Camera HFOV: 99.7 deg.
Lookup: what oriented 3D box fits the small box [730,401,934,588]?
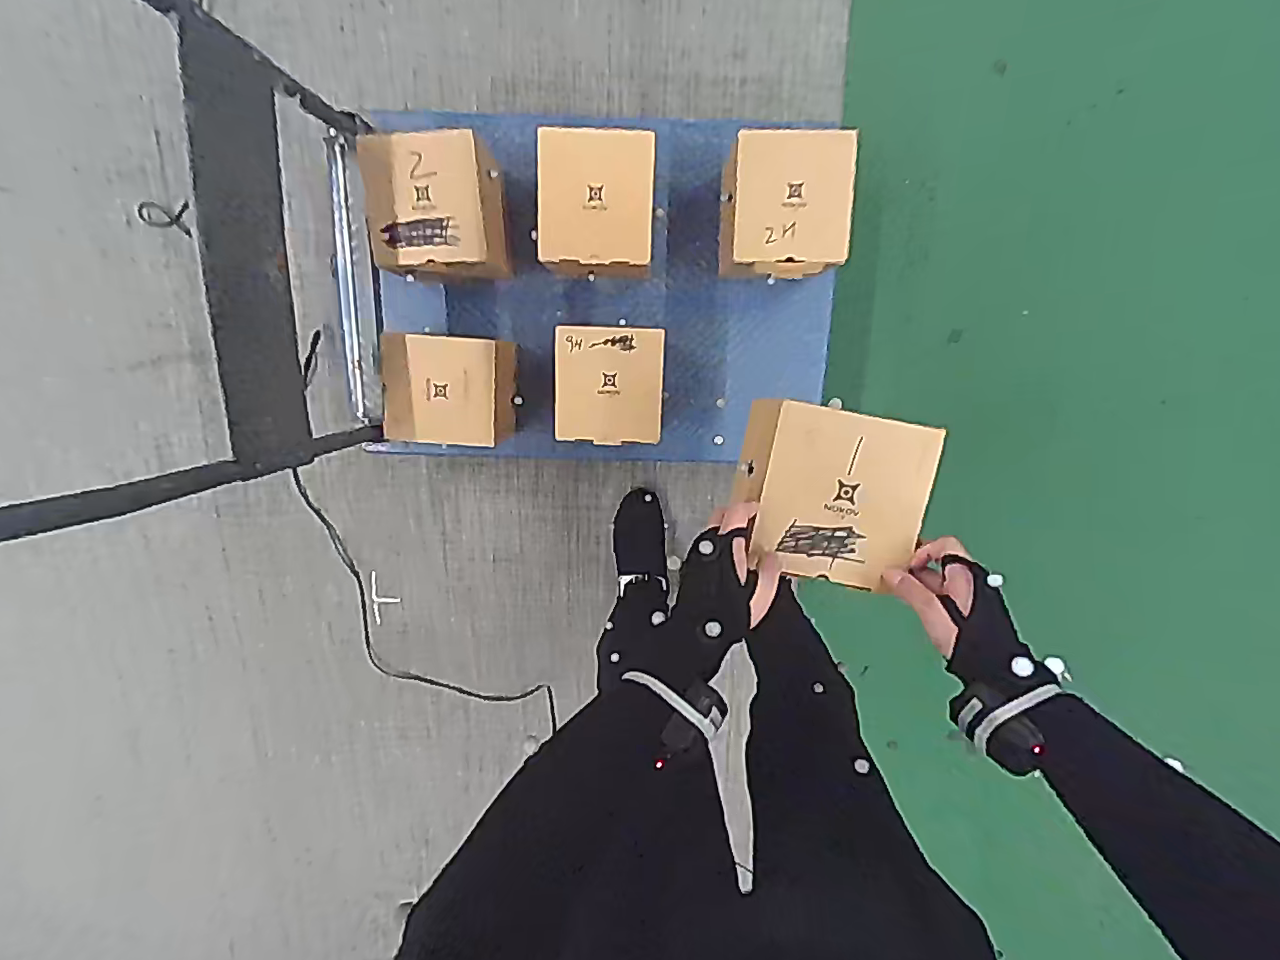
[{"bbox_3d":[0.209,0.007,0.646,0.168,0.176,0.179,10,98,-1],"label":"small box"}]

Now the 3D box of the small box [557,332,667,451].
[{"bbox_3d":[-0.043,-0.152,0.905,0.168,0.176,0.179,2,103,-1],"label":"small box"}]

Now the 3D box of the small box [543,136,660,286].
[{"bbox_3d":[-0.059,-0.411,0.851,0.168,0.176,0.179,2,104,-1],"label":"small box"}]

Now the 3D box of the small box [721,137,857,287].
[{"bbox_3d":[0.221,-0.407,0.848,0.168,0.176,0.179,1,103,1],"label":"small box"}]

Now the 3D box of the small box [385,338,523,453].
[{"bbox_3d":[-0.304,-0.145,0.908,0.179,0.176,0.168,4,103,-2],"label":"small box"}]
